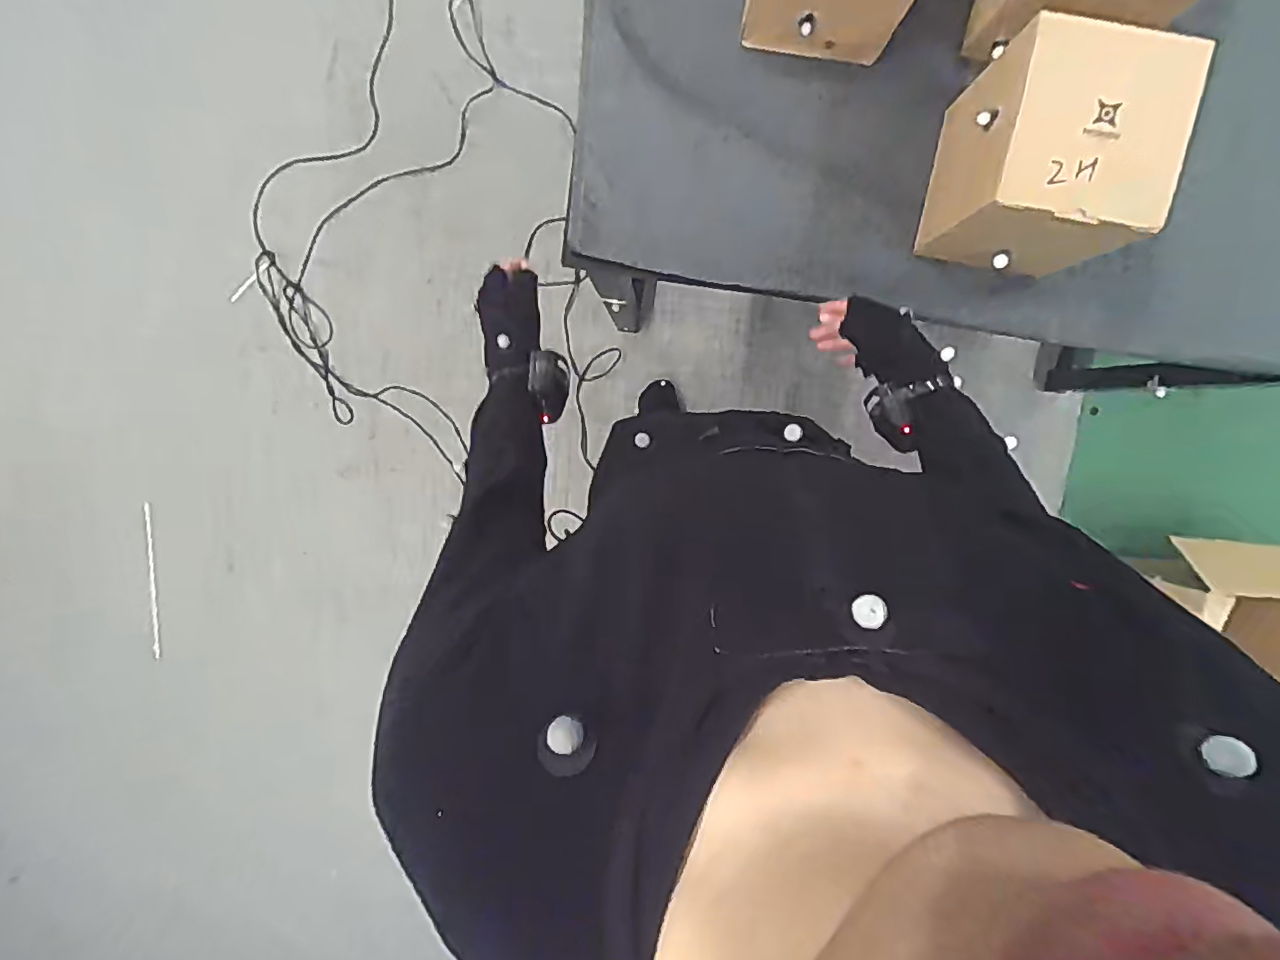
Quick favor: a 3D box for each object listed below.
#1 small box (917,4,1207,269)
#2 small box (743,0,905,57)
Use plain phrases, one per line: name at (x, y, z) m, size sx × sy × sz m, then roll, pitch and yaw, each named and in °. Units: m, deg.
small box at (0.434, -0.353, 0.591) m, size 0.168 × 0.176 × 0.179 m, roll 10°, pitch 98°, yaw 0°
small box at (0.211, -0.597, 0.562) m, size 0.168 × 0.176 × 0.179 m, roll 8°, pitch 99°, yaw 0°
